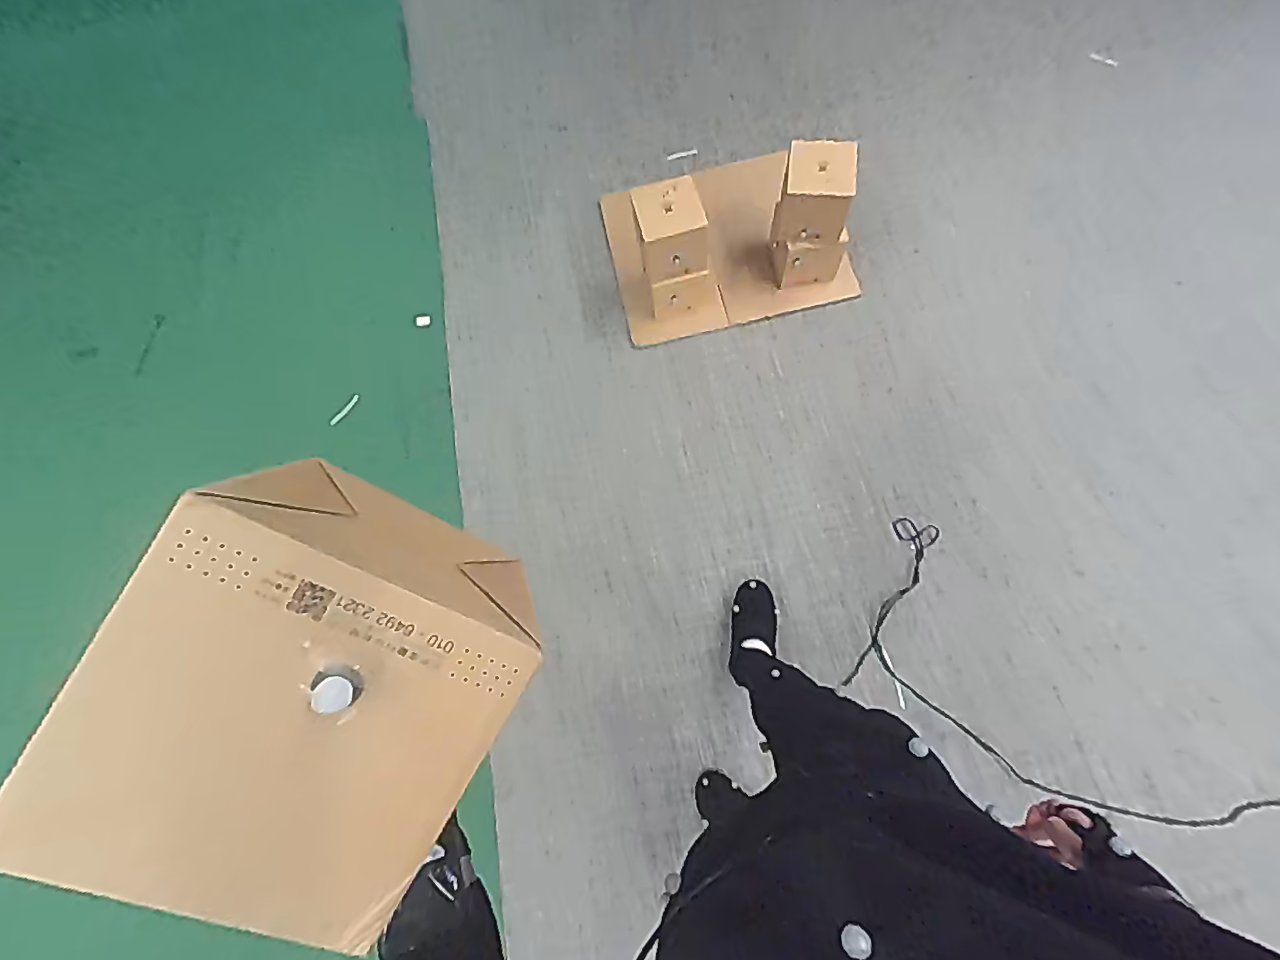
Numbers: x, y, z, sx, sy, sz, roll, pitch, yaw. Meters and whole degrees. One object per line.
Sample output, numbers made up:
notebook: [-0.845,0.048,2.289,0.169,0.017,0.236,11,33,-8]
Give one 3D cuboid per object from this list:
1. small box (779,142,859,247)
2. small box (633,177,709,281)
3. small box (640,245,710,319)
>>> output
small box: [0.465,-0.745,1.419,0.168,0.176,0.179,7,72,8]
small box: [0.085,-0.654,1.434,0.168,0.176,0.179,-14,70,1]
small box: [0.106,-0.596,1.587,0.168,0.176,0.179,-14,70,1]
